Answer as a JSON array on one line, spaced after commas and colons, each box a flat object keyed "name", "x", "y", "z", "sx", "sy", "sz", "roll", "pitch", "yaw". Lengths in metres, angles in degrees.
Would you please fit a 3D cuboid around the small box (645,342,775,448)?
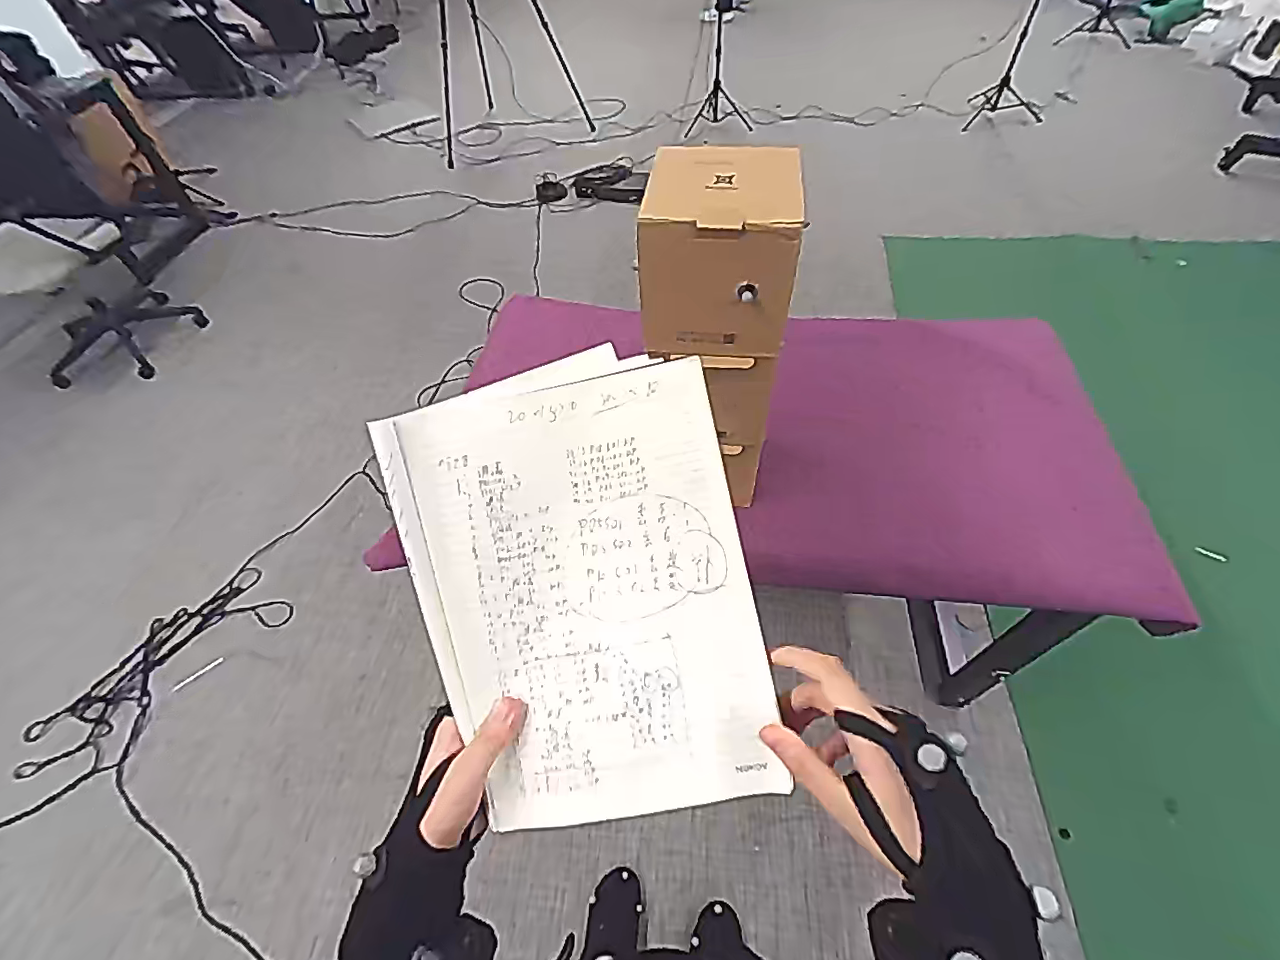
[{"name": "small box", "x": 0.104, "y": -0.164, "z": 0.781, "sx": 0.168, "sy": 0.176, "sz": 0.179, "roll": 5, "pitch": 52, "yaw": 7}]

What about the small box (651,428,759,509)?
[{"name": "small box", "x": 0.113, "y": -0.068, "z": 0.915, "sx": 0.168, "sy": 0.176, "sz": 0.179, "roll": 5, "pitch": 53, "yaw": 7}]

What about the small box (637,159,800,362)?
[{"name": "small box", "x": 0.095, "y": -0.261, "z": 0.650, "sx": 0.168, "sy": 0.176, "sz": 0.179, "roll": 6, "pitch": 52, "yaw": 7}]
